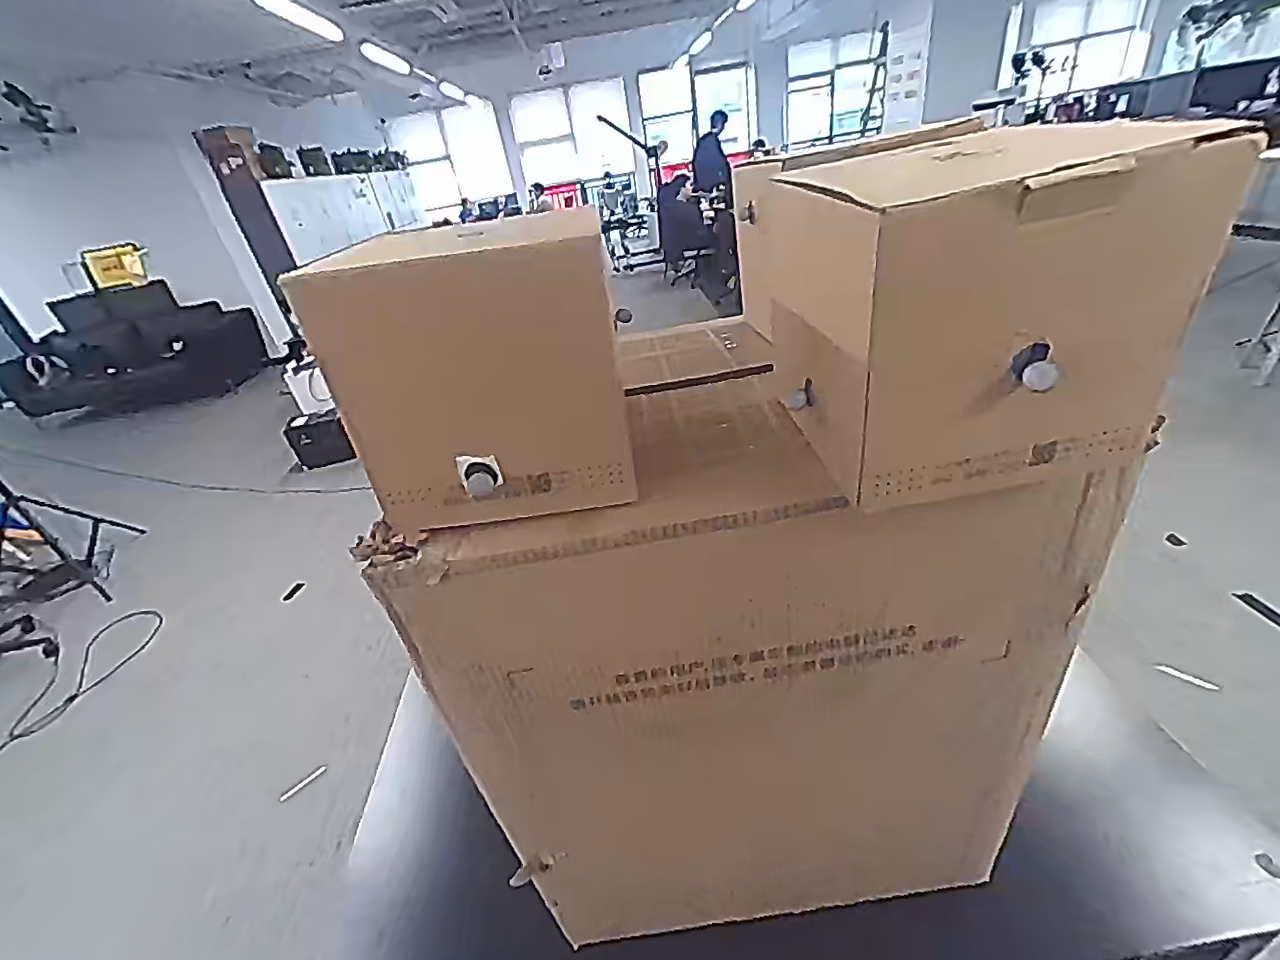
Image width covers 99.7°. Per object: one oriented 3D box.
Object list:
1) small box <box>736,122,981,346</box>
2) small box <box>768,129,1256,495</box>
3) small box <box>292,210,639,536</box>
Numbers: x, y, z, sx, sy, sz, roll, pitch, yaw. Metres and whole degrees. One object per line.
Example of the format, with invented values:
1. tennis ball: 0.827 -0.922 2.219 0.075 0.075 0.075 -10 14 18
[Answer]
1. small box: 0.200 -0.236 0.541 0.168 0.176 0.179 -11 28 1
2. small box: 0.188 -0.104 0.342 0.168 0.176 0.179 -11 34 1
3. small box: -0.095 -0.083 0.387 0.168 0.176 0.179 -9 32 0
